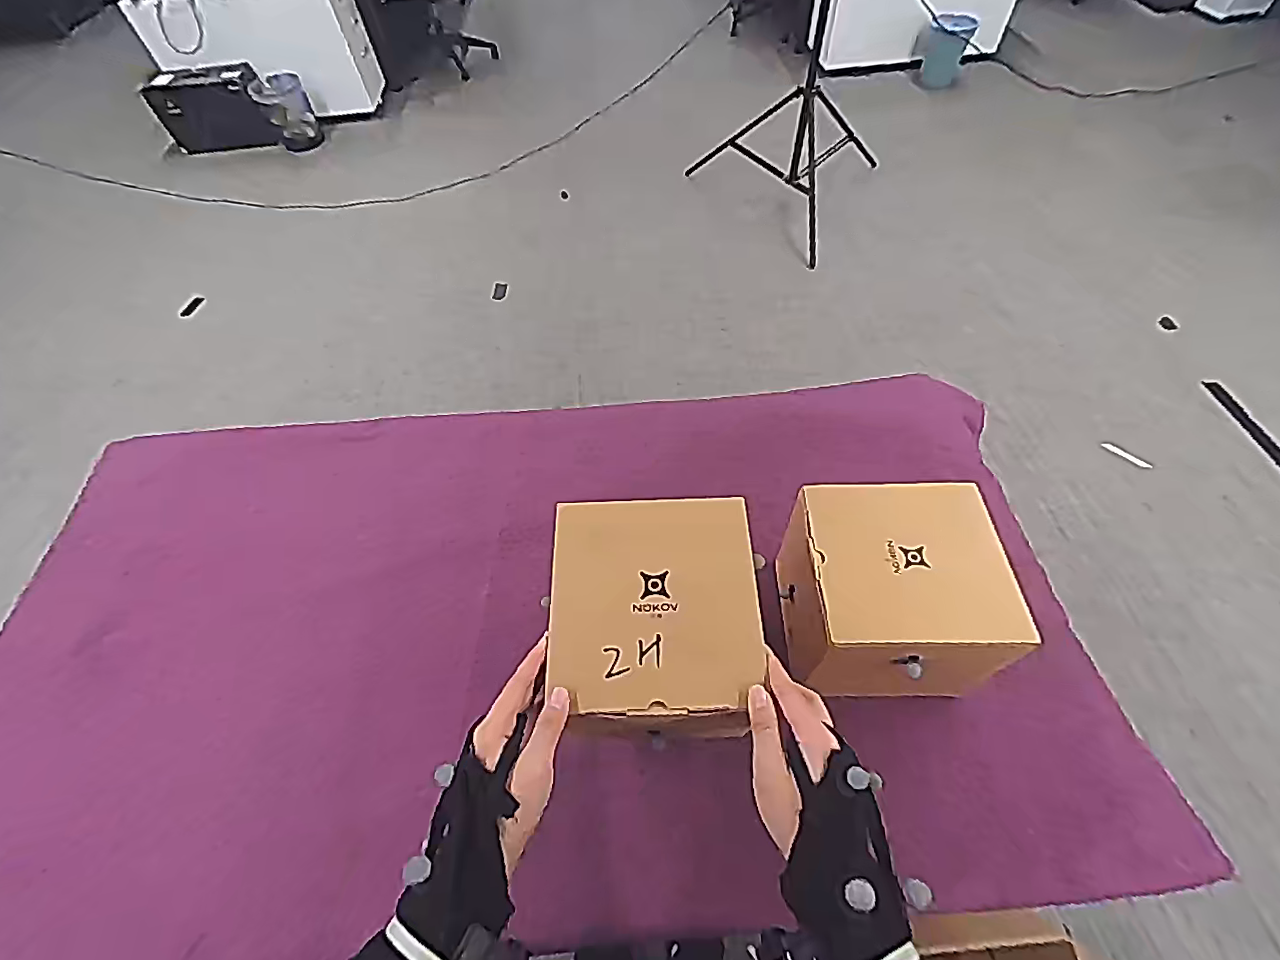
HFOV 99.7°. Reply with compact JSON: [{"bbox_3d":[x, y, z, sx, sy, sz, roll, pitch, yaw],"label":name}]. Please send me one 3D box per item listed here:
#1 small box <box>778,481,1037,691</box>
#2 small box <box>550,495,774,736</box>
[{"bbox_3d":[0.254,0.116,0.567,0.179,0.176,0.168,-1,55,3],"label":"small box"},{"bbox_3d":[0.017,0.130,0.500,0.168,0.176,0.179,-2,59,1],"label":"small box"}]
